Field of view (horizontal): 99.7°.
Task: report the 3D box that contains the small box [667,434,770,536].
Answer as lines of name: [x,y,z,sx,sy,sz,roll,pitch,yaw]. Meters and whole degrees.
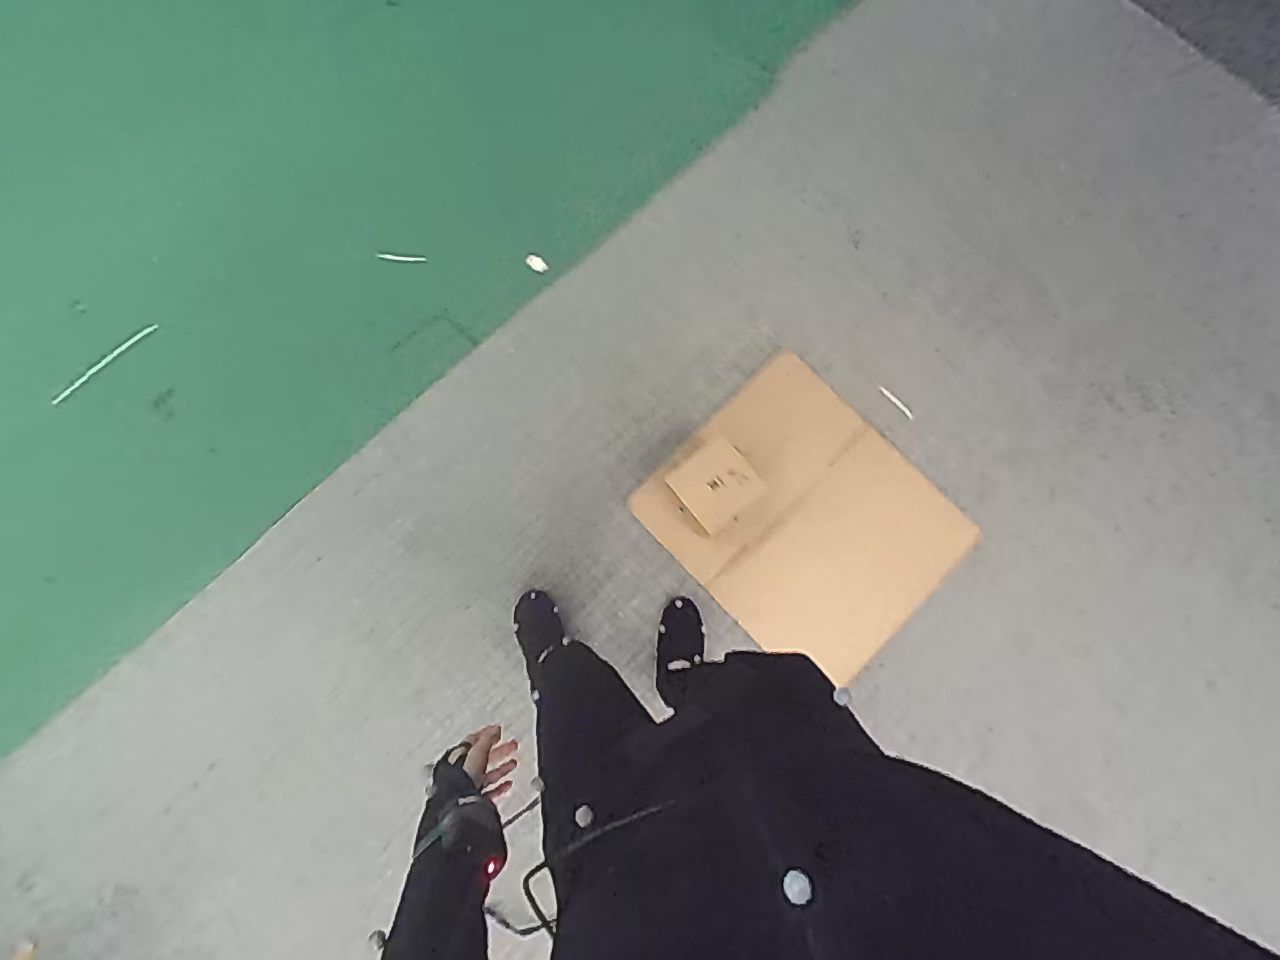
small box: [0.178,0.021,1.293,0.179,0.176,0.168,-37,84,-6]
